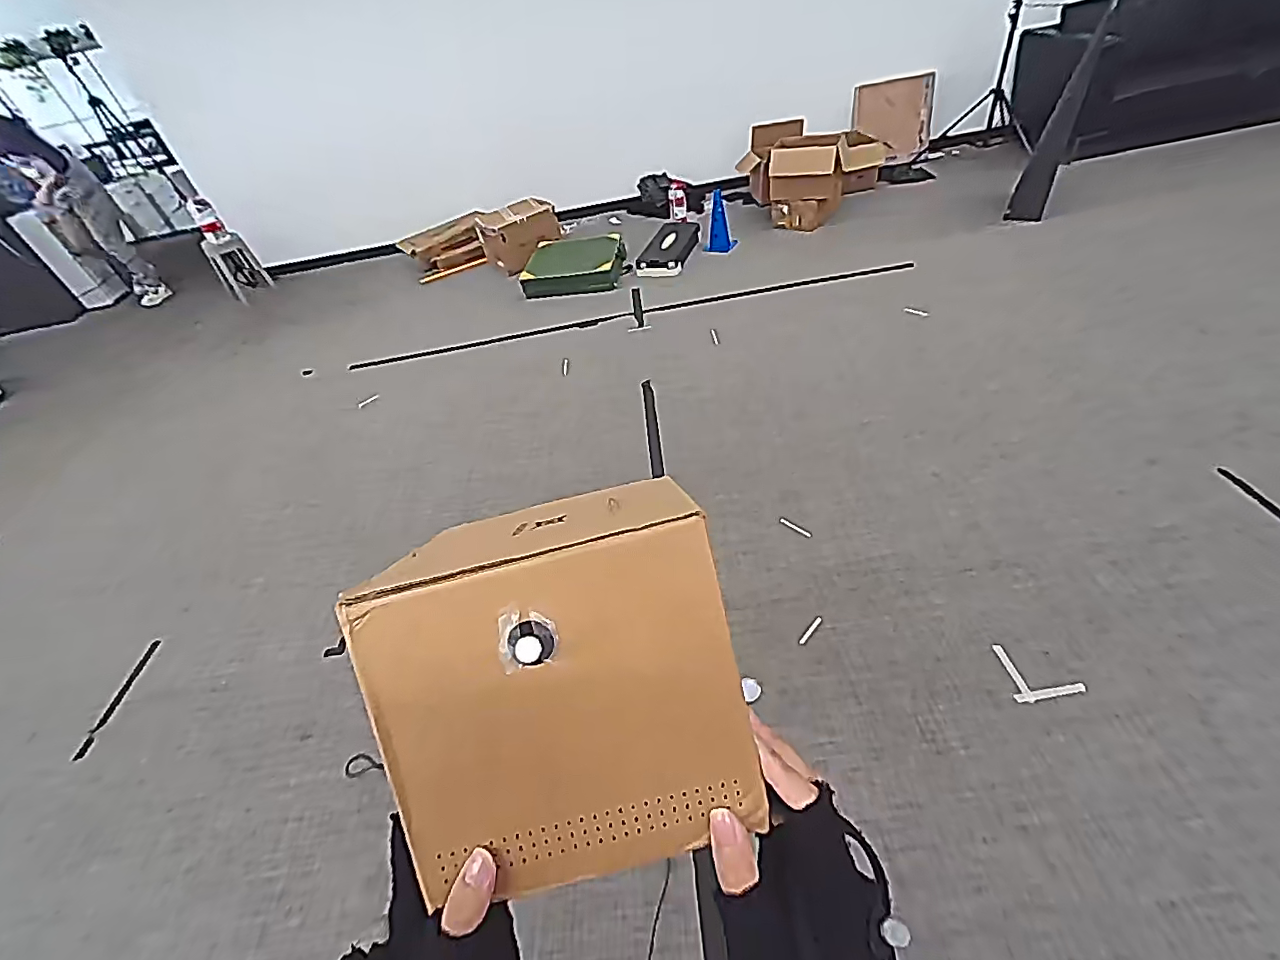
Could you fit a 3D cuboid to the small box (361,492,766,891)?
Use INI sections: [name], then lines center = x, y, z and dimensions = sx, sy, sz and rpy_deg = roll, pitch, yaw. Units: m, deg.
[small box]
center = -0.036, 0.117, 0.350
dimensions = 0.179, 0.176, 0.168
rpy_deg = -14, 6, 0
